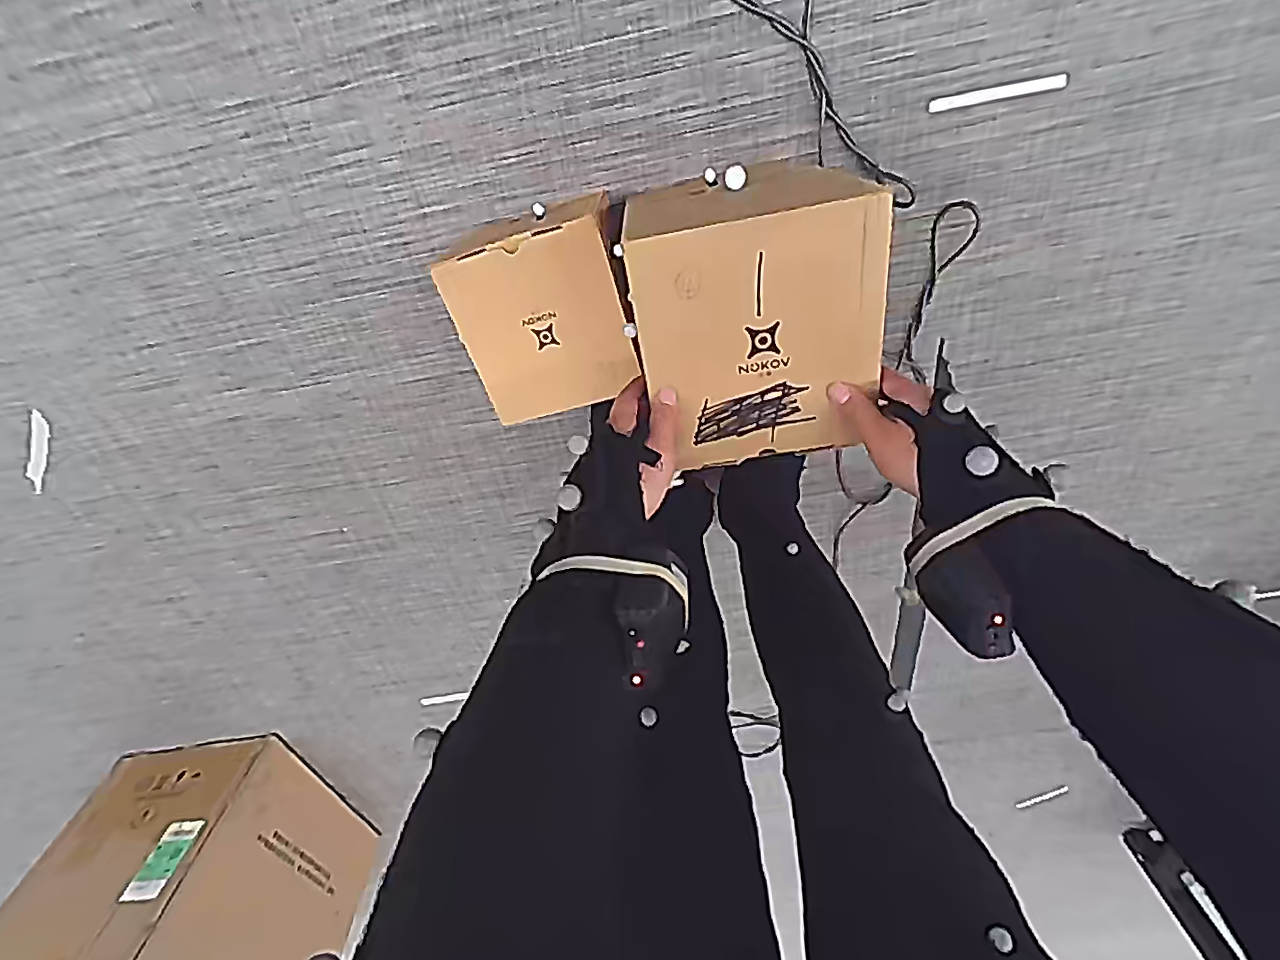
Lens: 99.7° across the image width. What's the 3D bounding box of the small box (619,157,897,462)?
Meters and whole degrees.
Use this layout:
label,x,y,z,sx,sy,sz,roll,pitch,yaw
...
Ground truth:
label,x,y,z,sx,sy,sz,roll,pitch,yaw
small box,0.082,-0.139,0.430,0.168,0.176,0.179,-9,123,5
